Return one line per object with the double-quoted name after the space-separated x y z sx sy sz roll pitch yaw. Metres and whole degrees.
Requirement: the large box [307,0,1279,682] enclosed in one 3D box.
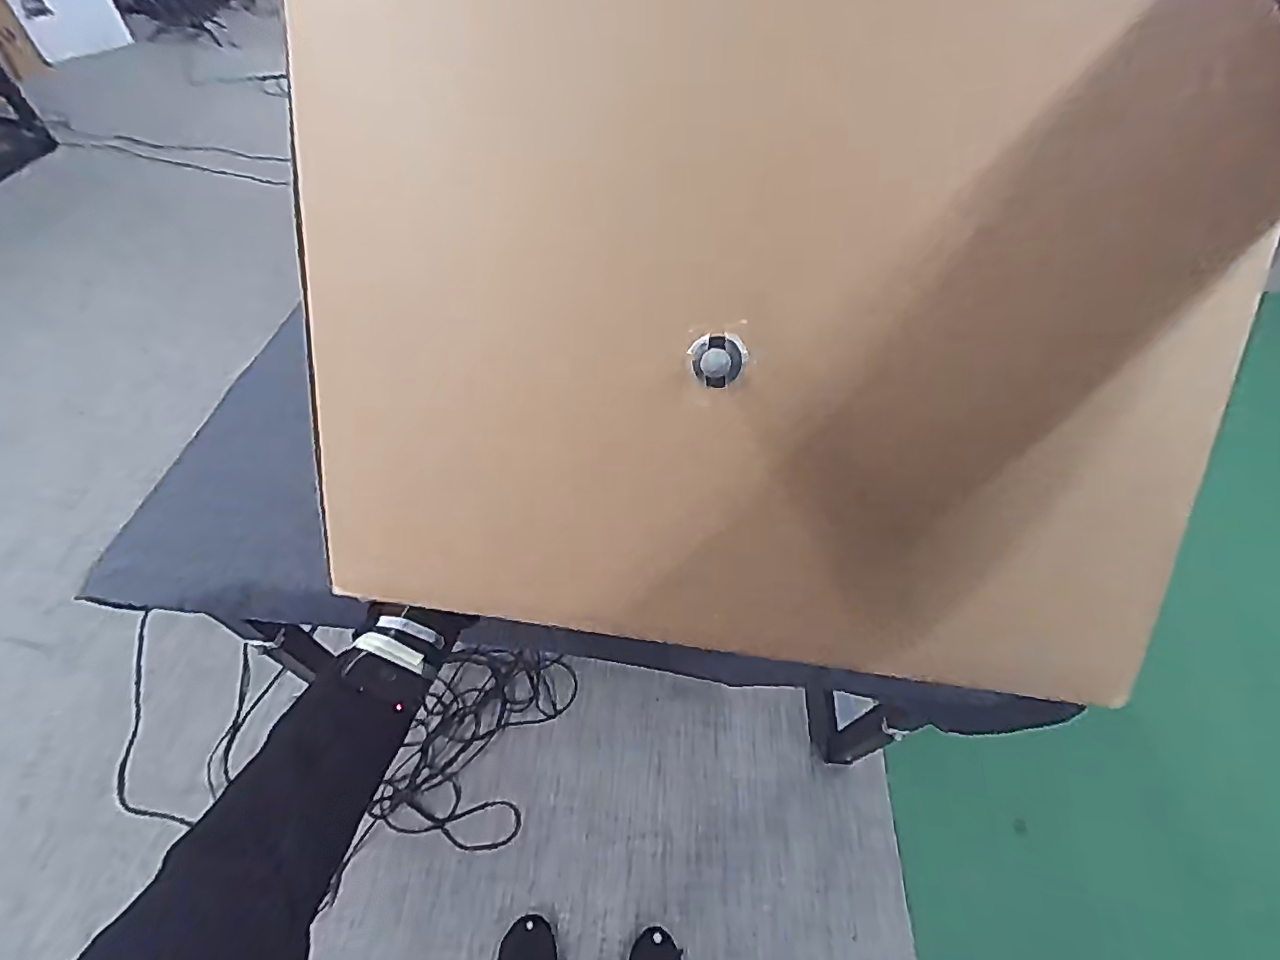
0.063 -0.089 0.397 0.408 0.320 0.320 4 14 7 "large box"
